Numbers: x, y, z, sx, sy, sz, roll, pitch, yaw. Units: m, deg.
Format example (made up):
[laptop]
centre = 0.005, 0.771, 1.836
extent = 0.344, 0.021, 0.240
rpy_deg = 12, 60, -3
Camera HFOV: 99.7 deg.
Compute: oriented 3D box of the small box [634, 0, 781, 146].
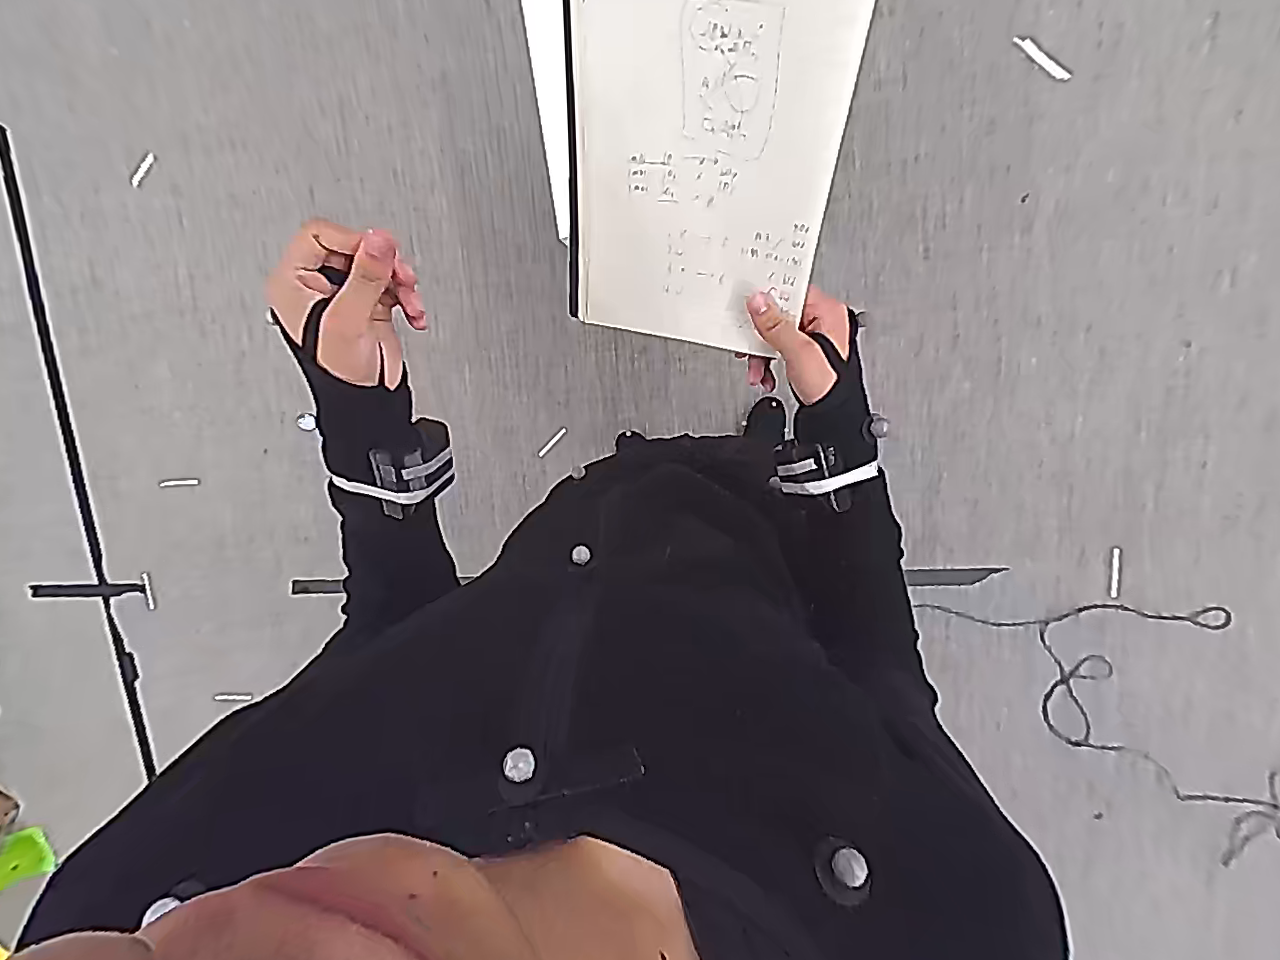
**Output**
[small box]
centre = 0.102, -0.656, 0.827
extent = 0.179, 0.176, 0.168
rpy_deg = -16, 96, 12
